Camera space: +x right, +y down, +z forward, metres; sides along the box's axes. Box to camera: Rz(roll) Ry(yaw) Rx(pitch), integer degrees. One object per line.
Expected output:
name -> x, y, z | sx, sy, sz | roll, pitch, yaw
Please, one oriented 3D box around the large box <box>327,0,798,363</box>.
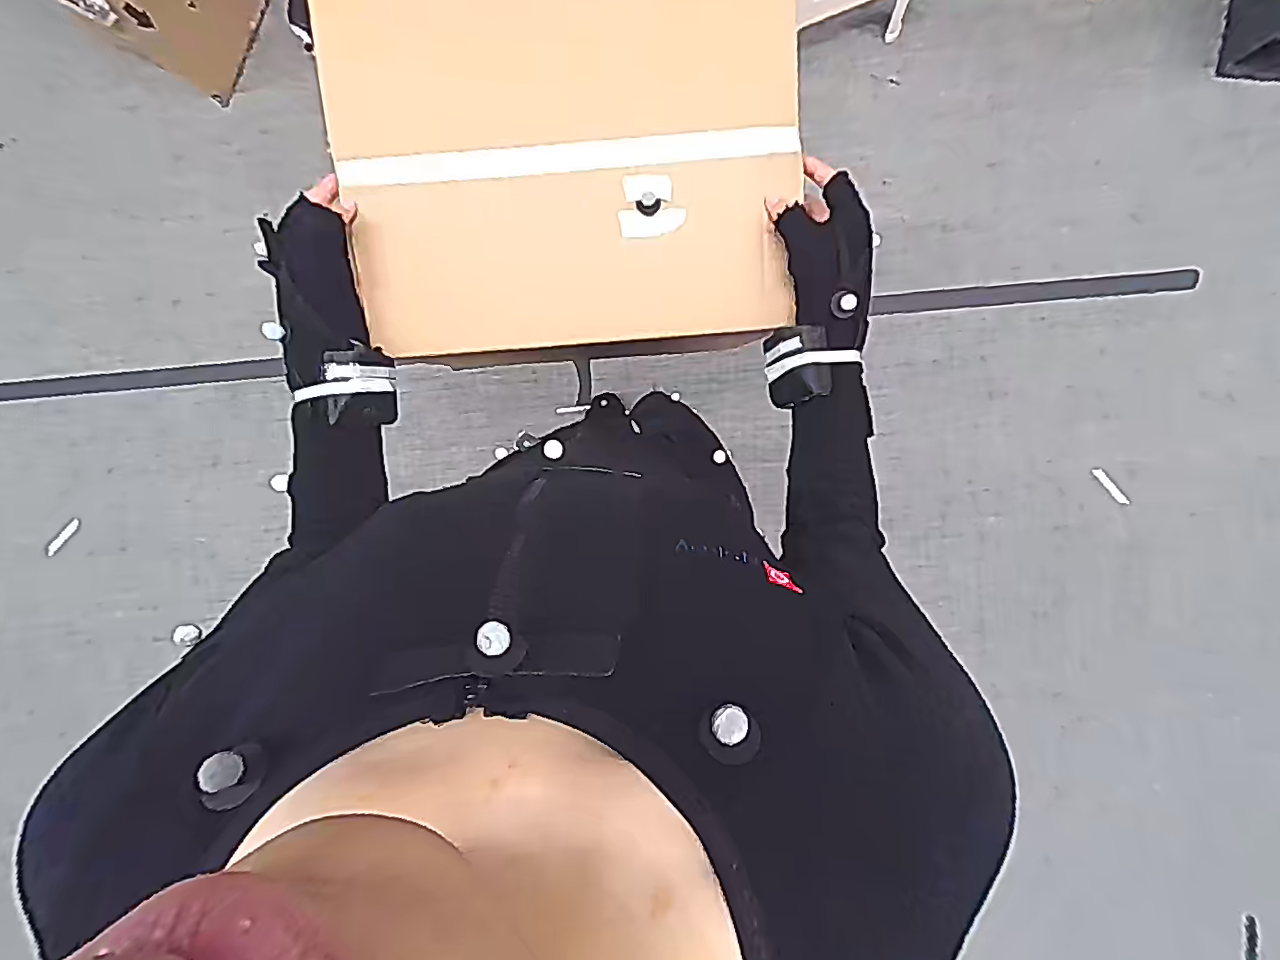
large box -> -0.065, -0.316, 0.632 | 0.408, 0.320, 0.320 | -4, 100, -1
